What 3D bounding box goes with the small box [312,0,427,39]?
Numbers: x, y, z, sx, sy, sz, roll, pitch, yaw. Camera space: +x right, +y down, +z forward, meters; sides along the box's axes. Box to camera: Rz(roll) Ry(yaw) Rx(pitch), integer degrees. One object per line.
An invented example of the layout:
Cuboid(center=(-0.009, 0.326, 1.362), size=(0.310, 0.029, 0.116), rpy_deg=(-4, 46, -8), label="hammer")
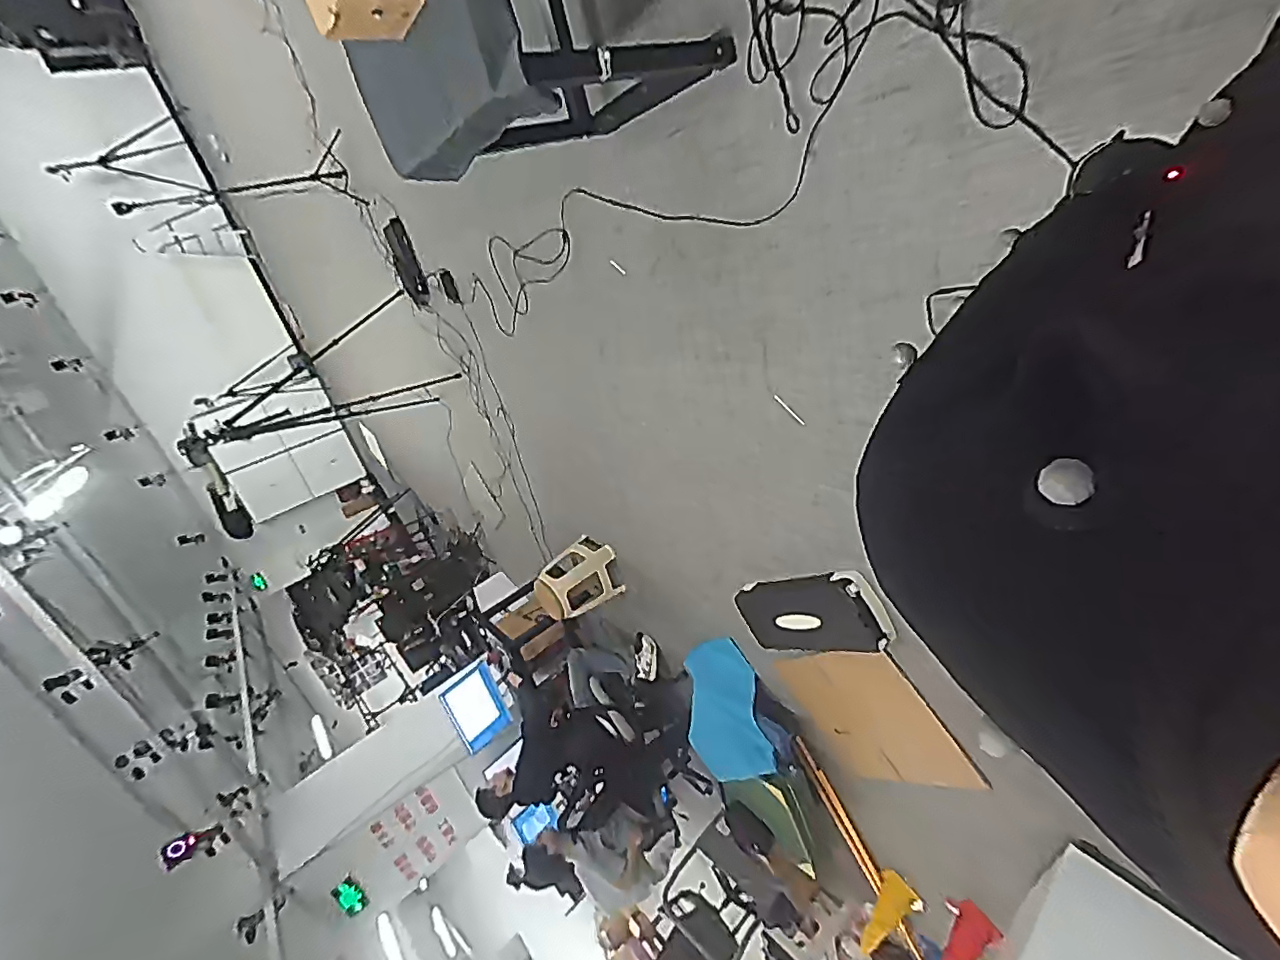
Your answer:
Cuboid(center=(-0.527, -0.972, 1.015), size=(0.168, 0.176, 0.179), rpy_deg=(13, 127, 50), label="small box")
